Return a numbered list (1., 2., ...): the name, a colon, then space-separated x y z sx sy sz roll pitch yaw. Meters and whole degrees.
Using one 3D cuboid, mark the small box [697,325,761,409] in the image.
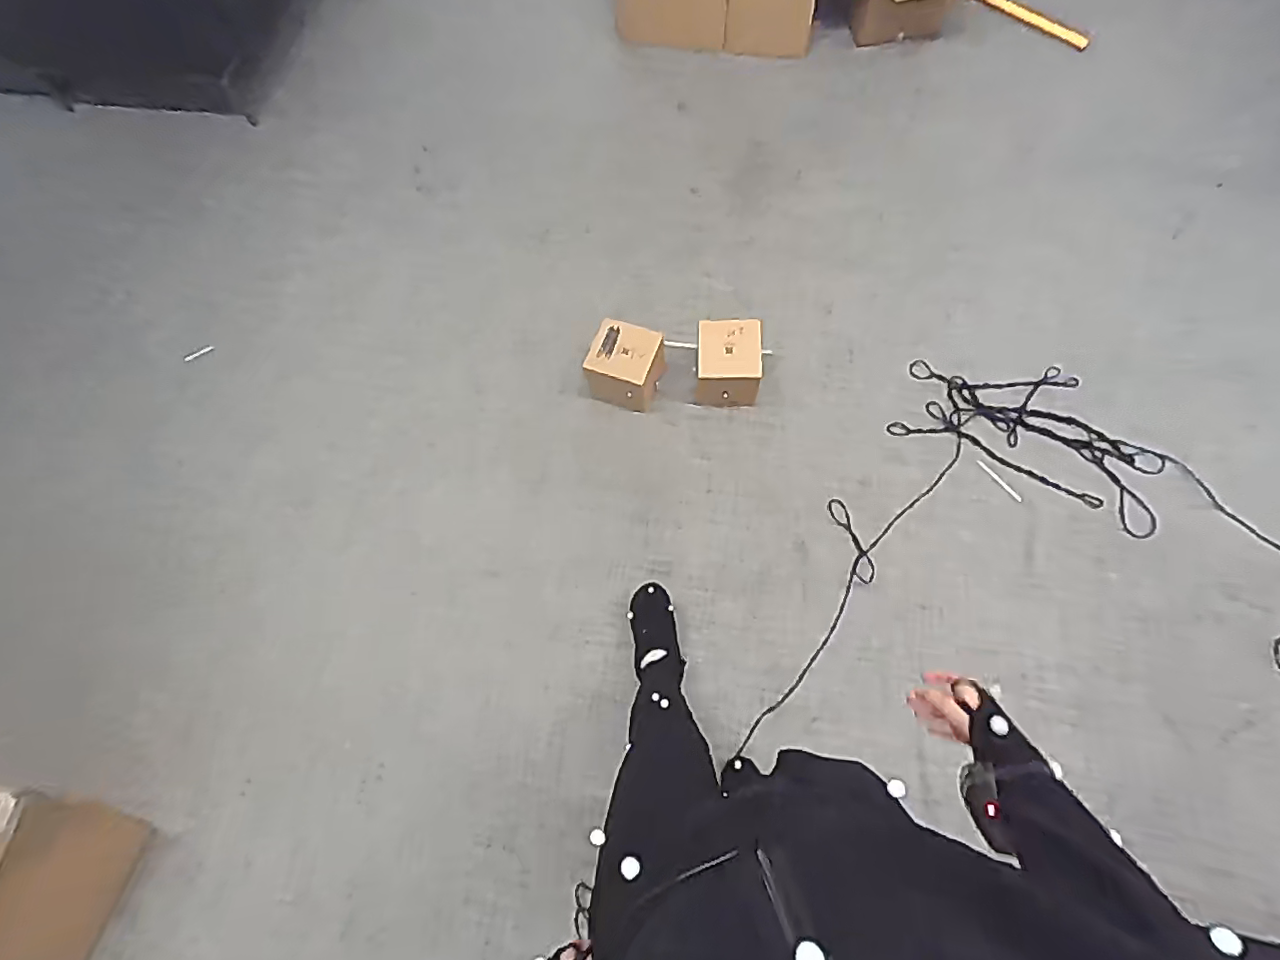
1. small box: 0.244 -0.306 1.494 0.168 0.176 0.179 1 70 5
